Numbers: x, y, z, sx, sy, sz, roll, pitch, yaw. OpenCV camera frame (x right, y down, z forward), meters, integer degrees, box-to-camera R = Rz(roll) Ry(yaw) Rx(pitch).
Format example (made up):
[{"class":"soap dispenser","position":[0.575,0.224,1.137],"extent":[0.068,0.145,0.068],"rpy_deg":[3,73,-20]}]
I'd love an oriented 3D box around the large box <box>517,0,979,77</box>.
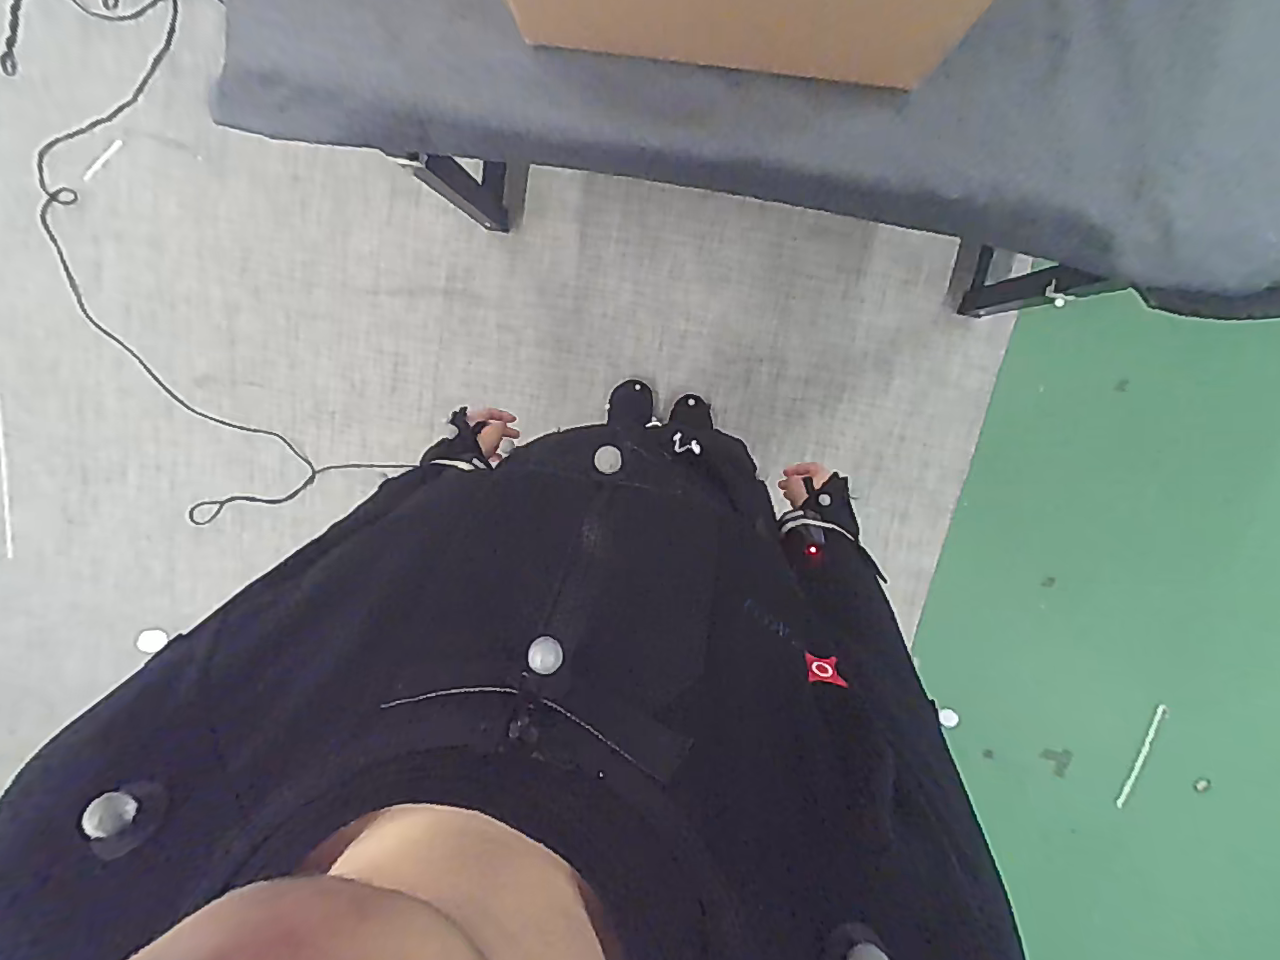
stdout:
[{"class":"large box","position":[0.093,-0.546,0.376],"extent":[0.408,0.320,0.320],"rpy_deg":[7,102,1]}]
